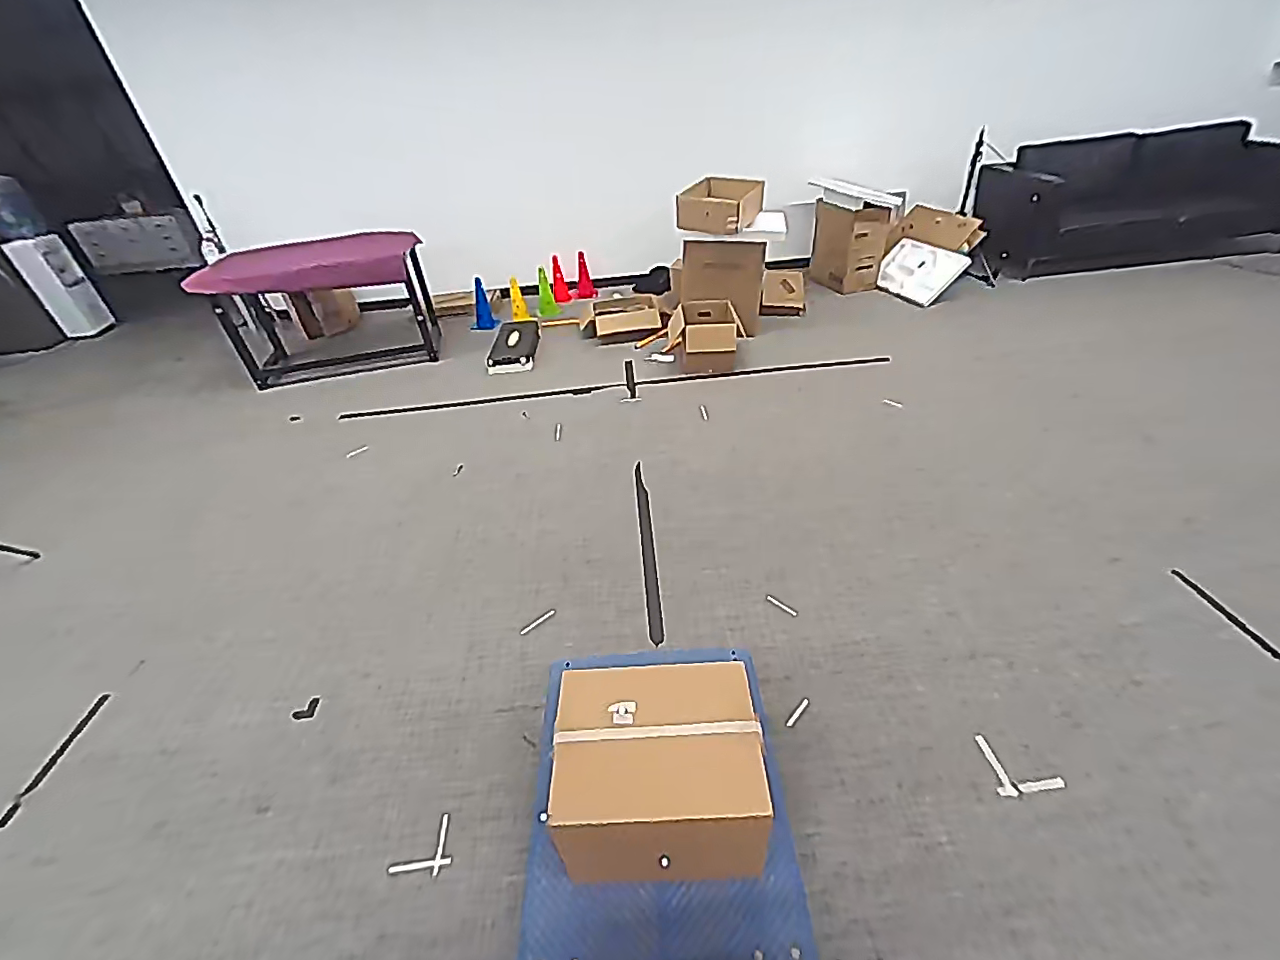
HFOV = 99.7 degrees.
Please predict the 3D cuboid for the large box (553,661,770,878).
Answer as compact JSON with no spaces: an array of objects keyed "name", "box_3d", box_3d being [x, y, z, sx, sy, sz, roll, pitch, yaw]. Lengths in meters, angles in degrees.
[{"name":"large box","box_3d":[0.048,0.632,1.184,0.408,0.320,0.320,-5,36,2]}]
